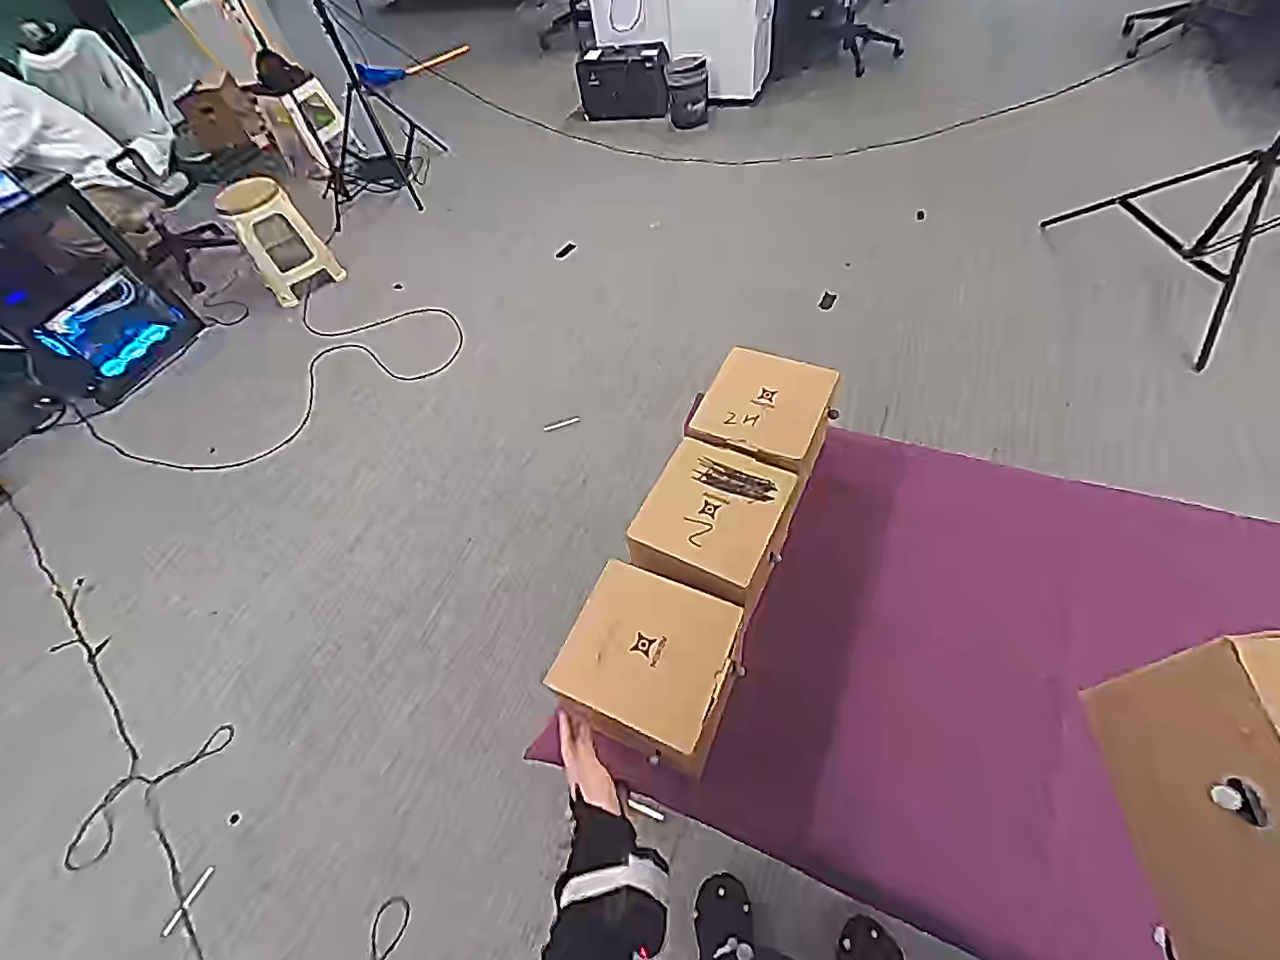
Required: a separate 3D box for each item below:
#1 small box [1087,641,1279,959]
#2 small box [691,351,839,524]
[{"bbox_3d":[0.406,0.198,0.302,0.168,0.176,0.179,-5,58,10],"label":"small box"},{"bbox_3d":[0.189,-0.064,0.837,0.168,0.176,0.179,20,60,21],"label":"small box"}]
